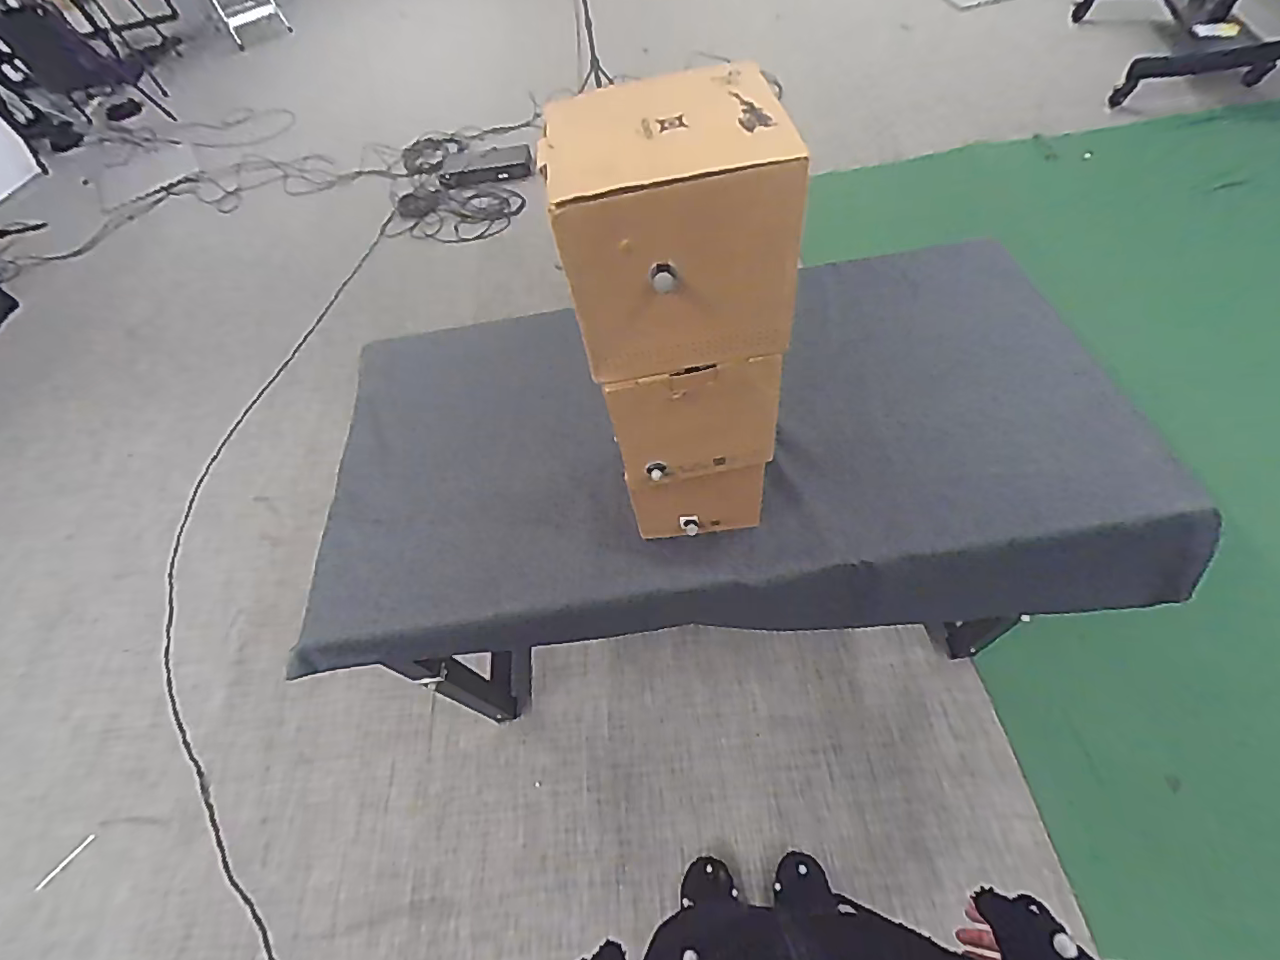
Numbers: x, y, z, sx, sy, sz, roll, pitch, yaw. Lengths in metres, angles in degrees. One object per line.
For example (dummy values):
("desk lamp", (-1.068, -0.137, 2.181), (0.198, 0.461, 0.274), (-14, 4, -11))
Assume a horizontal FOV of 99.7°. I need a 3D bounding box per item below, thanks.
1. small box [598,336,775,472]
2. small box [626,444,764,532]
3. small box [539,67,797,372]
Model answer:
("small box", (0.043, -0.127, 0.605), (0.168, 0.176, 0.179), (-15, 57, 1))
("small box", (0.069, -0.050, 0.747), (0.168, 0.176, 0.179), (-9, 57, 4))
("small box", (0.023, -0.217, 0.473), (0.179, 0.176, 0.168), (-12, 54, 1))
